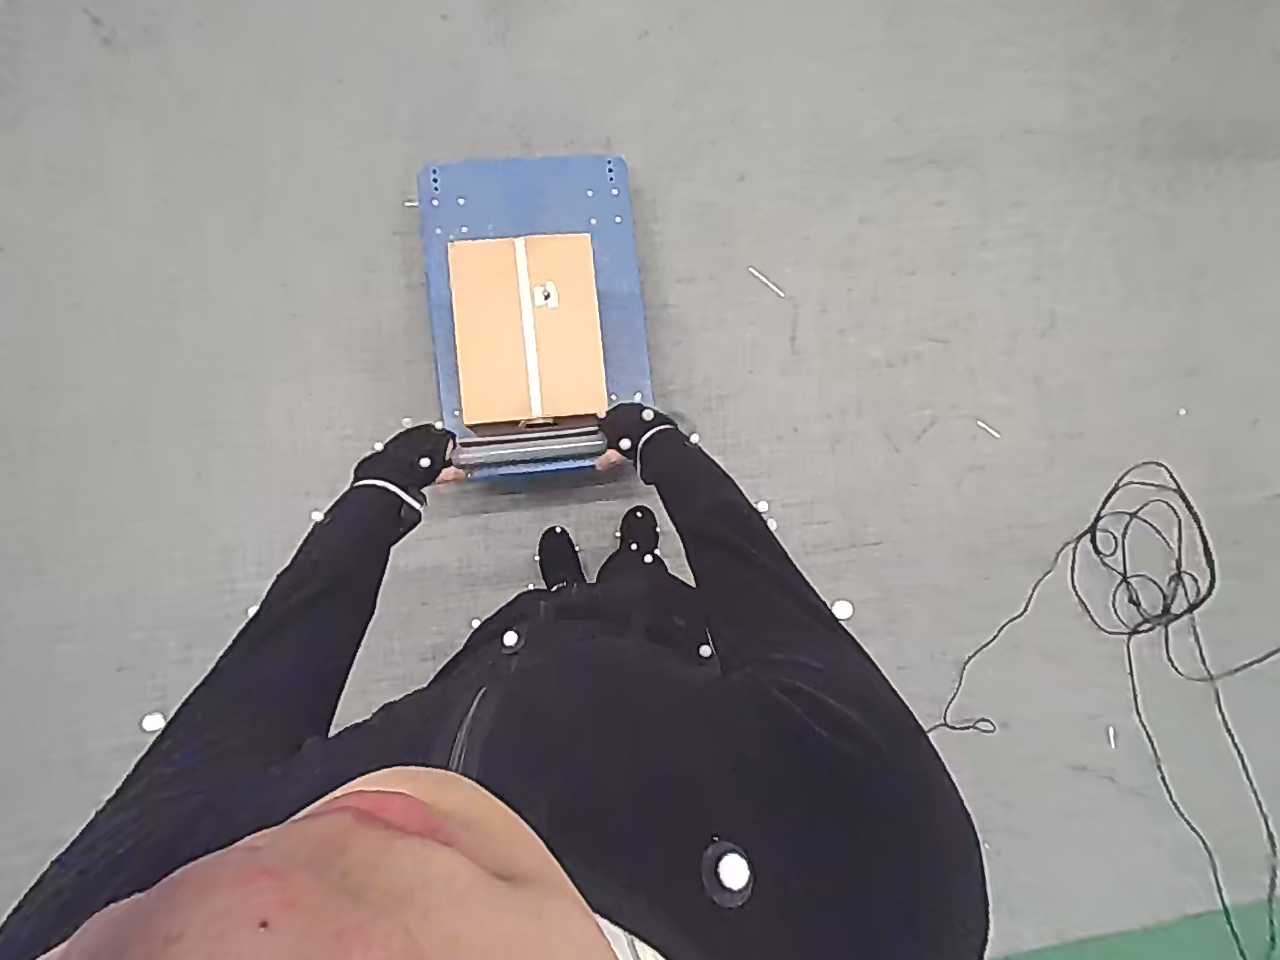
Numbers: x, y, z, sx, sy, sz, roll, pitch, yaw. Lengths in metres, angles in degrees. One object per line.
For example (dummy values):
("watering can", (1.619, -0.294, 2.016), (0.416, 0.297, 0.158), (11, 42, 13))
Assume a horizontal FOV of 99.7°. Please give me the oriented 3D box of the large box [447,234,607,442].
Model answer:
("large box", (-0.260, -0.326, 1.328), (0.320, 0.320, 0.408), (-6, 86, -6))
